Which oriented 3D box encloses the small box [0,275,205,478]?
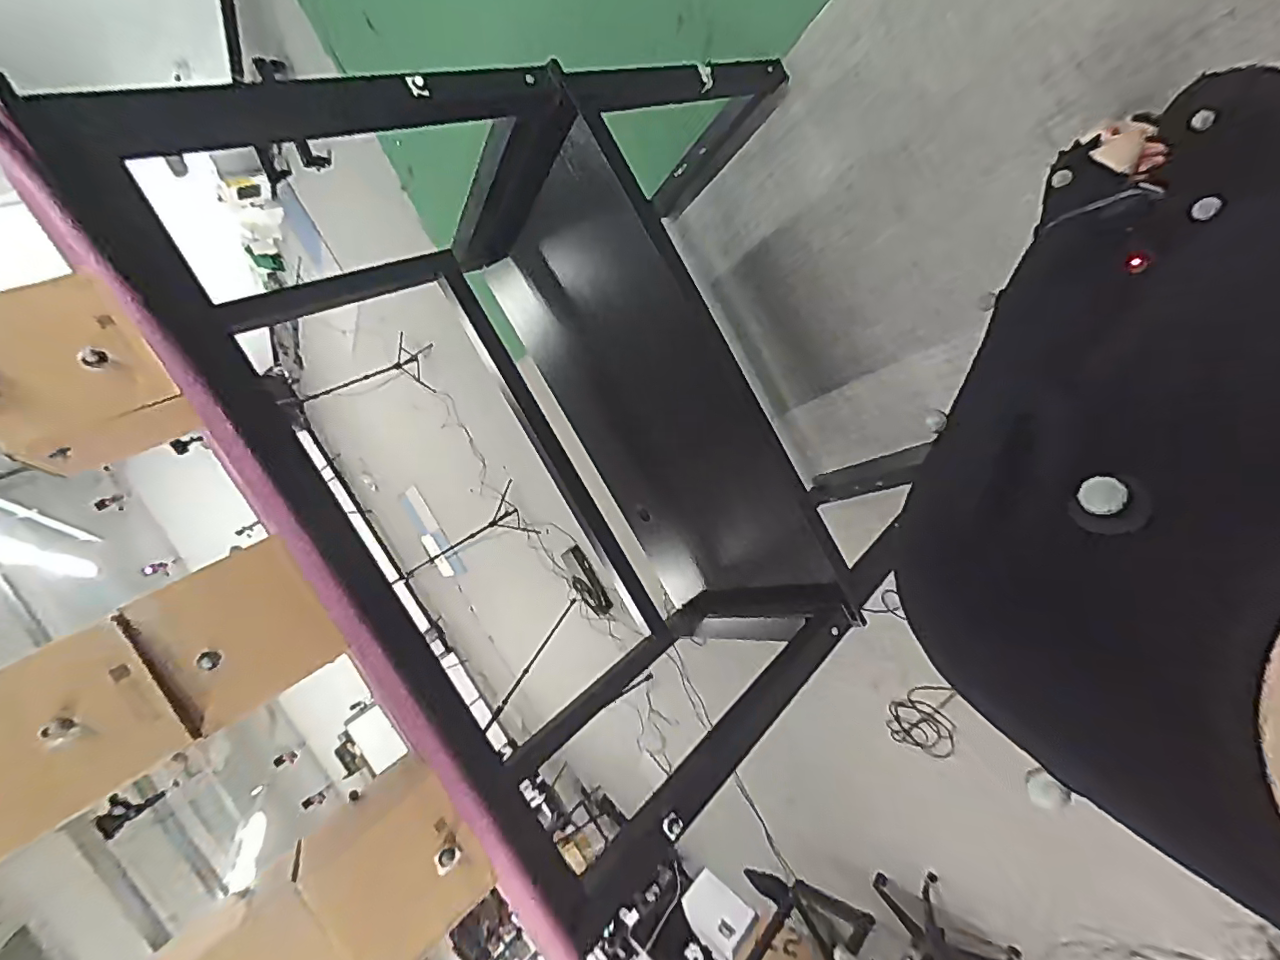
[{"bbox_3d":[-0.680,-0.122,0.666,0.179,0.176,0.168,-17,105,58],"label":"small box"}]

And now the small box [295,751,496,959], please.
[{"bbox_3d":[-0.312,0.483,0.700,0.168,0.176,0.179,57,146,-2],"label":"small box"}]

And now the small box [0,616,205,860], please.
[{"bbox_3d":[-0.613,0.268,0.607,0.168,0.176,0.179,58,148,-1],"label":"small box"}]

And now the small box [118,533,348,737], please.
[{"bbox_3d":[-0.504,0.190,0.702,0.168,0.176,0.179,-21,99,58],"label":"small box"}]

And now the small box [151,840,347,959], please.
[{"bbox_3d":[-0.426,0.564,0.612,0.179,0.176,0.168,57,147,-1],"label":"small box"}]
